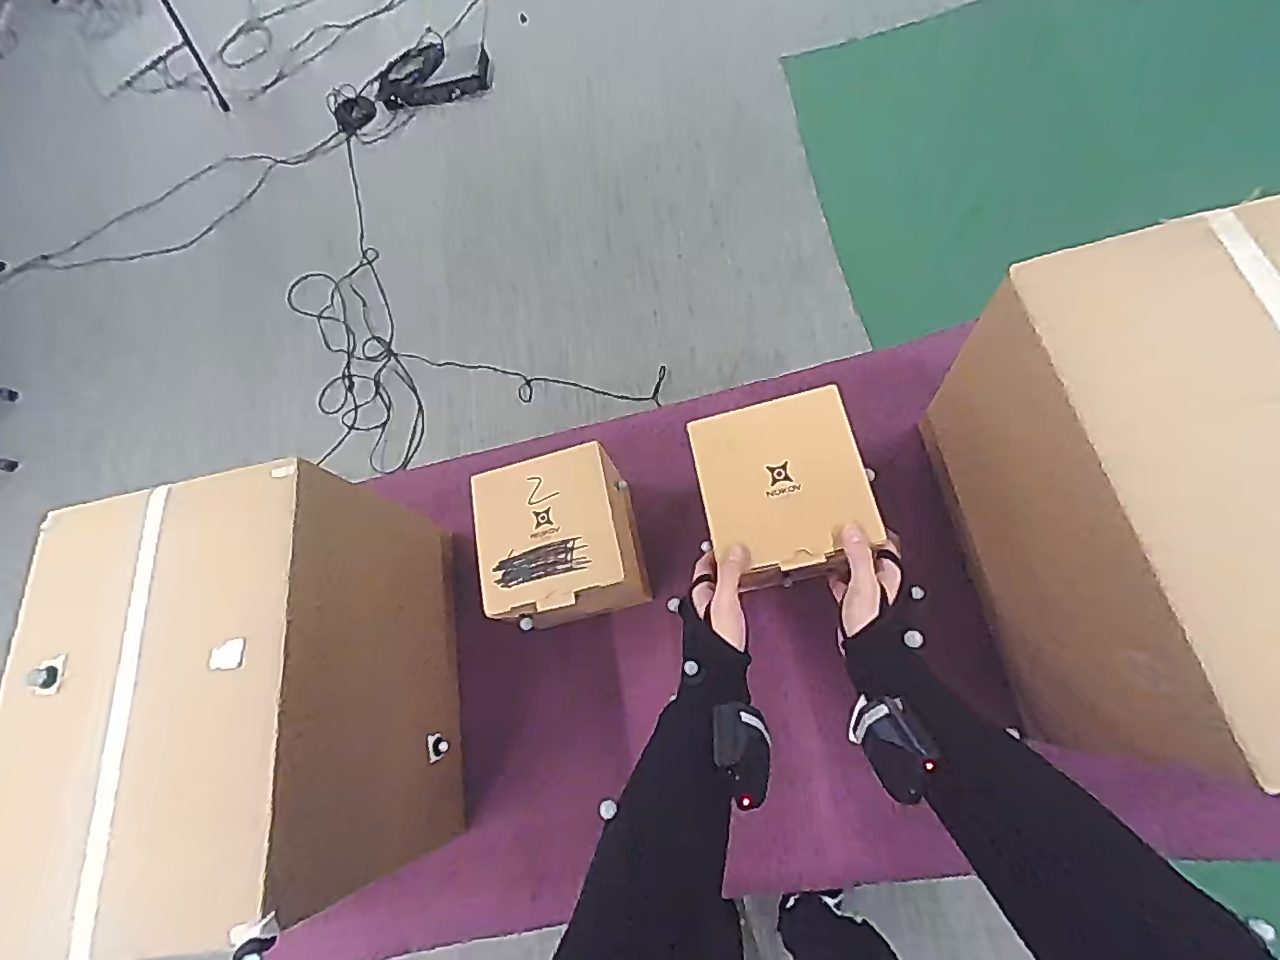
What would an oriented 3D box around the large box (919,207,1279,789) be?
[{"bbox_3d":[0.522,0.020,0.508,0.320,0.320,0.408,-12,69,9],"label":"large box"}]
